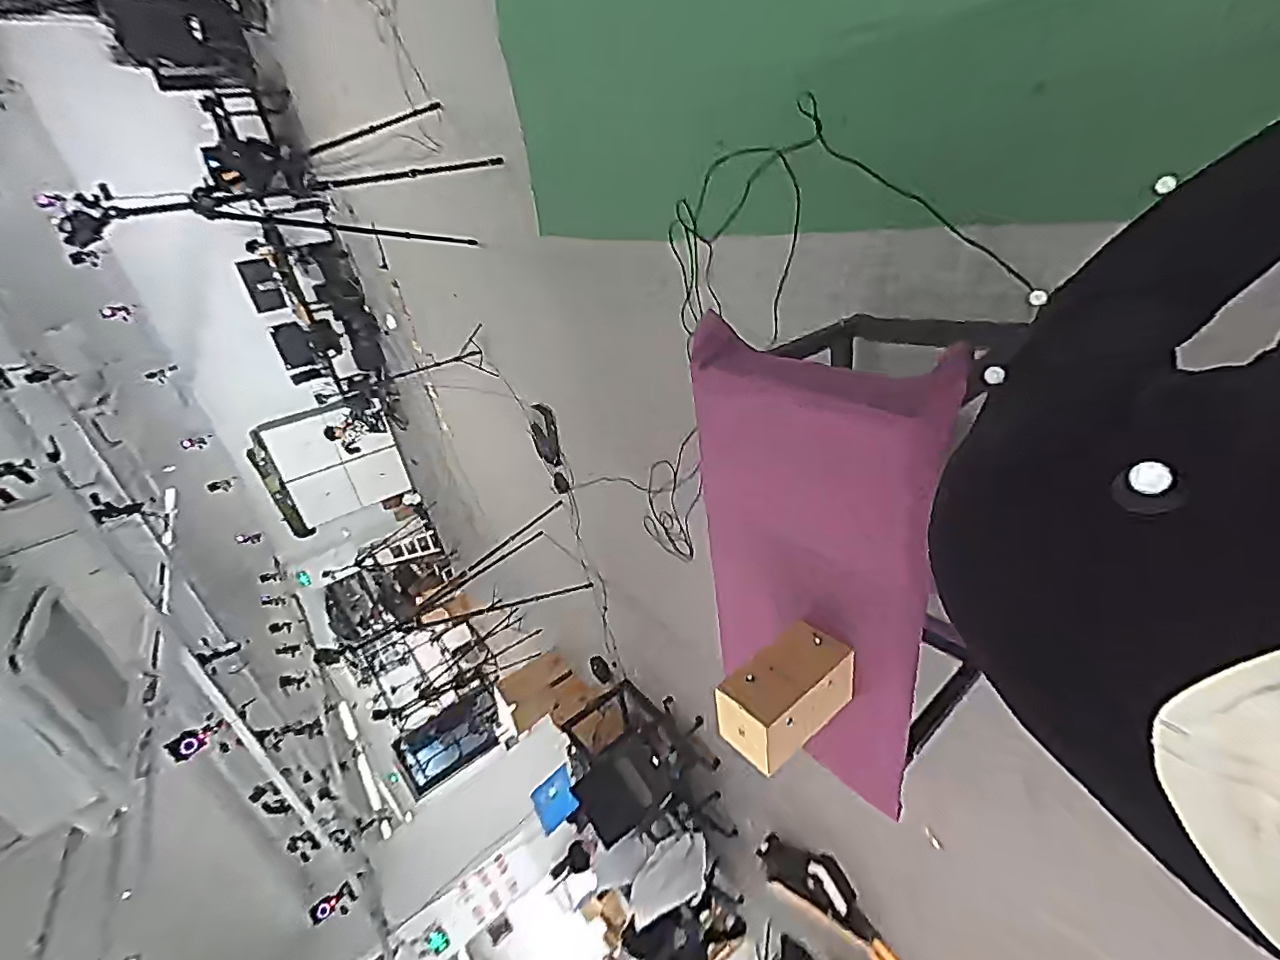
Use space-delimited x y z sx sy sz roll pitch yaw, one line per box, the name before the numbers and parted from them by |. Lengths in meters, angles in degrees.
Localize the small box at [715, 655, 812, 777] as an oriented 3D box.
small box | 0.305 0.569 1.326 0.168 0.176 0.179 26 133 48
